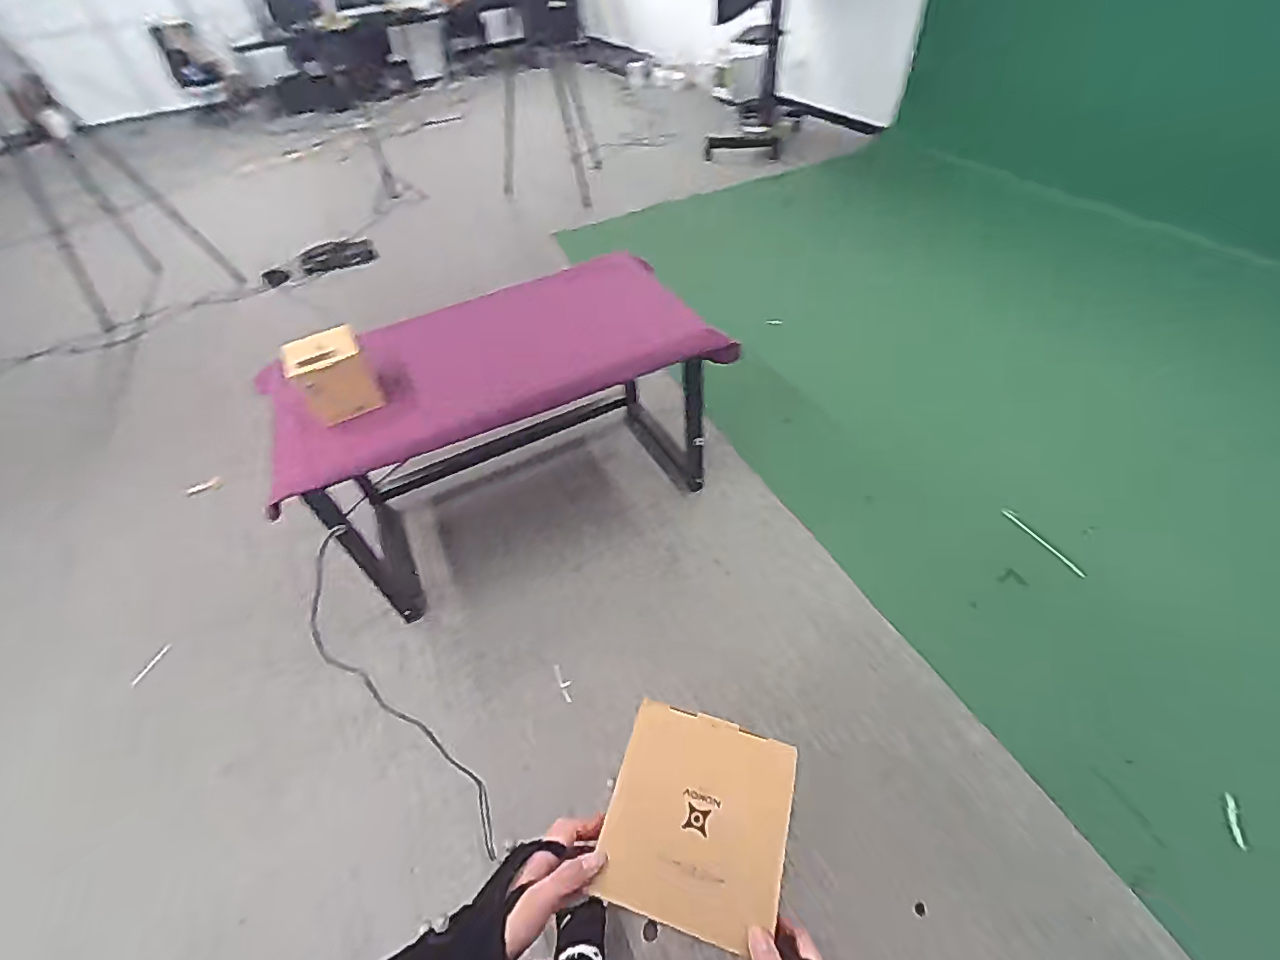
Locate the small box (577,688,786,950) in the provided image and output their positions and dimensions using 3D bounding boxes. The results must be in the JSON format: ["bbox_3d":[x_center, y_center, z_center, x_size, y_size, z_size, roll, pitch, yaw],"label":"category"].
[{"bbox_3d":[0.046,0.354,0.573,0.168,0.176,0.179,13,53,12],"label":"small box"}]
